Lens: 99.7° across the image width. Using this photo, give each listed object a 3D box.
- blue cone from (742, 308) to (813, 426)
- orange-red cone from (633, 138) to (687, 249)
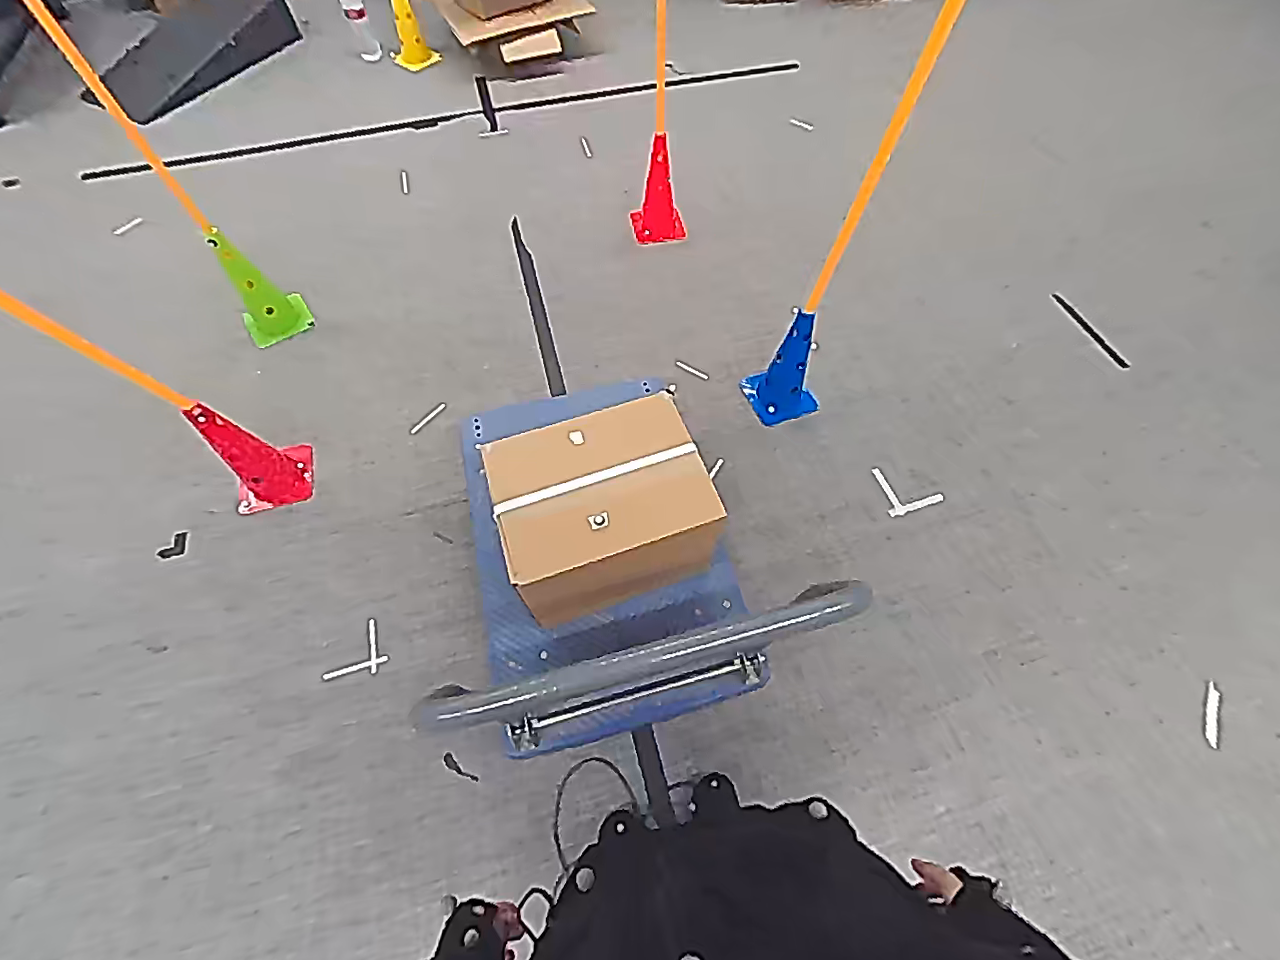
[{"bbox_3d":[0.447,-0.346,1.609,0.193,0.380,0.192,-17,61,-10],"label":"blue cone"},{"bbox_3d":[0.080,-1.078,2.009,0.199,0.360,0.198,-8,61,-5],"label":"orange-red cone"}]
